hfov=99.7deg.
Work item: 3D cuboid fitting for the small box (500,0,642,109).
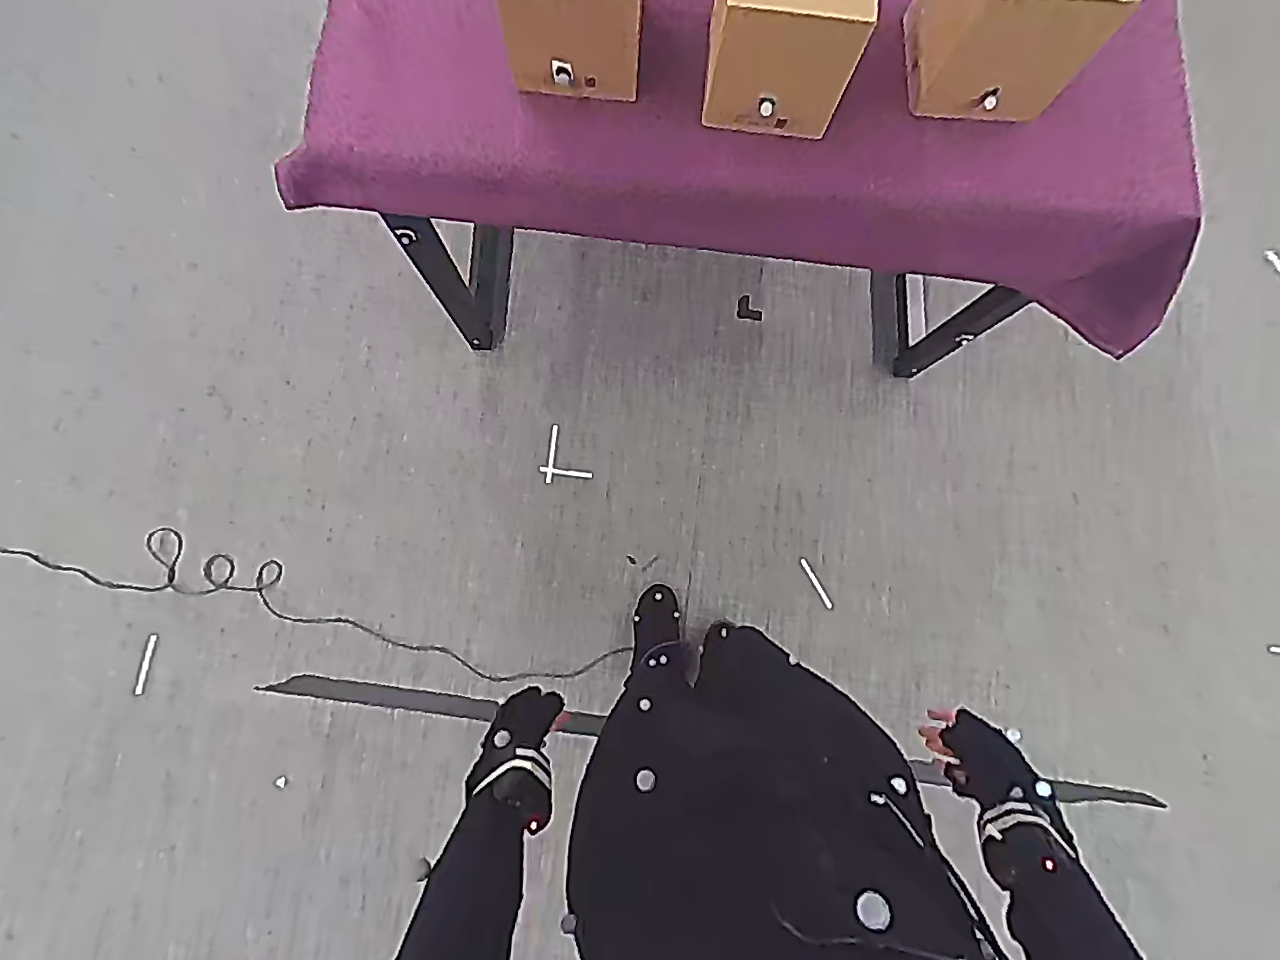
[{"bbox_3d":[-0.080,-0.612,0.673,0.168,0.176,0.179,2,82,-1],"label":"small box"}]

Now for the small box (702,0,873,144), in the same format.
[{"bbox_3d":[0.175,-0.567,0.676,0.168,0.176,0.179,5,81,-1],"label":"small box"}]

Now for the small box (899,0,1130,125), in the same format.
[{"bbox_3d":[0.462,-0.592,0.693,0.179,0.176,0.168,2,81,-2],"label":"small box"}]
